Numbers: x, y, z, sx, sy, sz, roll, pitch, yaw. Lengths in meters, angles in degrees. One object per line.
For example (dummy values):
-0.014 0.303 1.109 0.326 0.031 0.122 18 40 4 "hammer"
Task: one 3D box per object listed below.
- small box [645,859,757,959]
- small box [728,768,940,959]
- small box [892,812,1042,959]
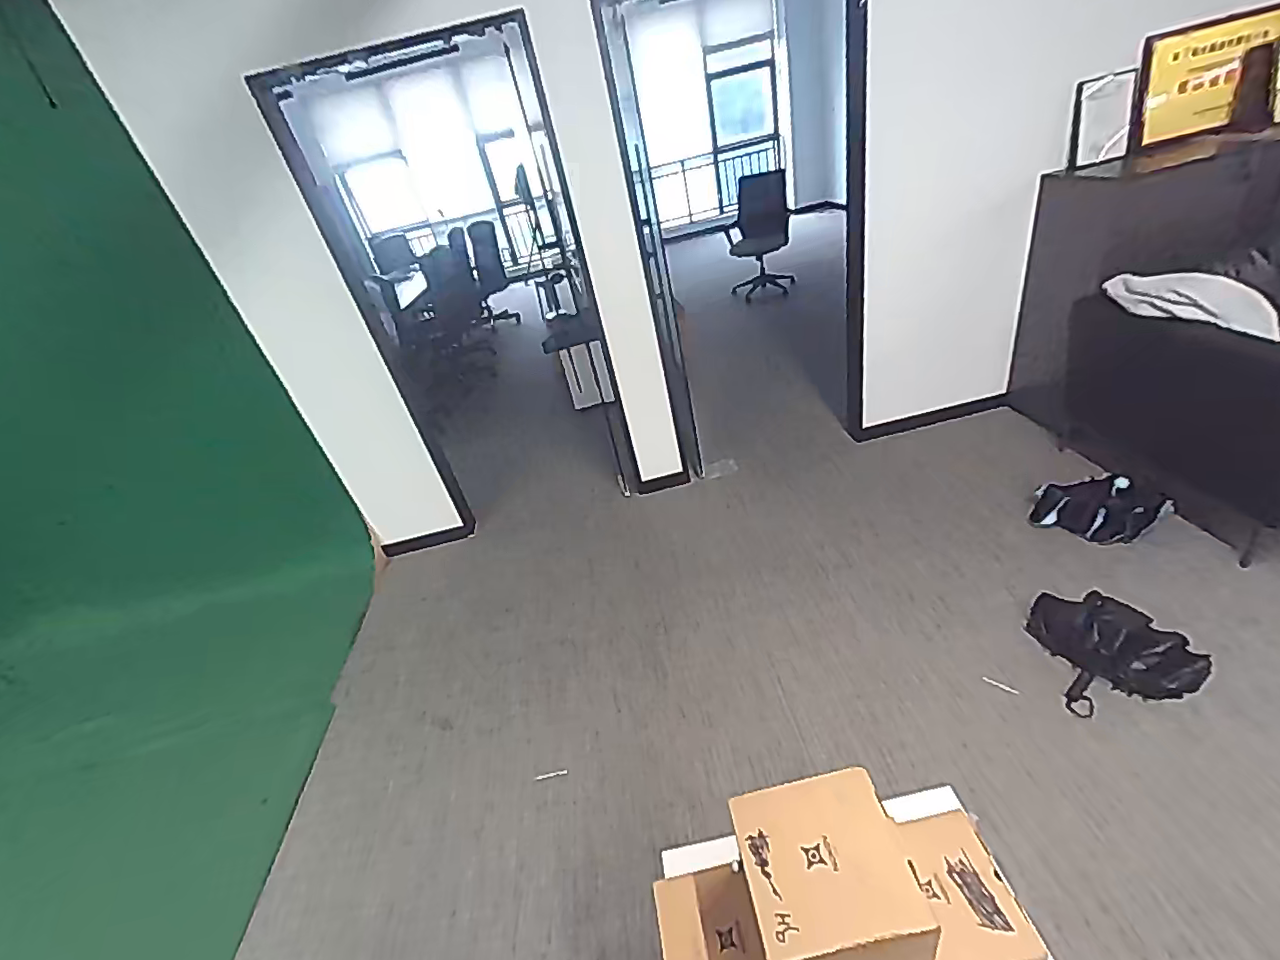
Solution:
0.114 0.637 0.710 0.179 0.176 0.168 -13 31 -2 "small box"
0.210 0.473 0.628 0.179 0.176 0.168 -12 31 -1 "small box"
0.373 0.580 0.715 0.179 0.176 0.168 -13 32 0 "small box"
